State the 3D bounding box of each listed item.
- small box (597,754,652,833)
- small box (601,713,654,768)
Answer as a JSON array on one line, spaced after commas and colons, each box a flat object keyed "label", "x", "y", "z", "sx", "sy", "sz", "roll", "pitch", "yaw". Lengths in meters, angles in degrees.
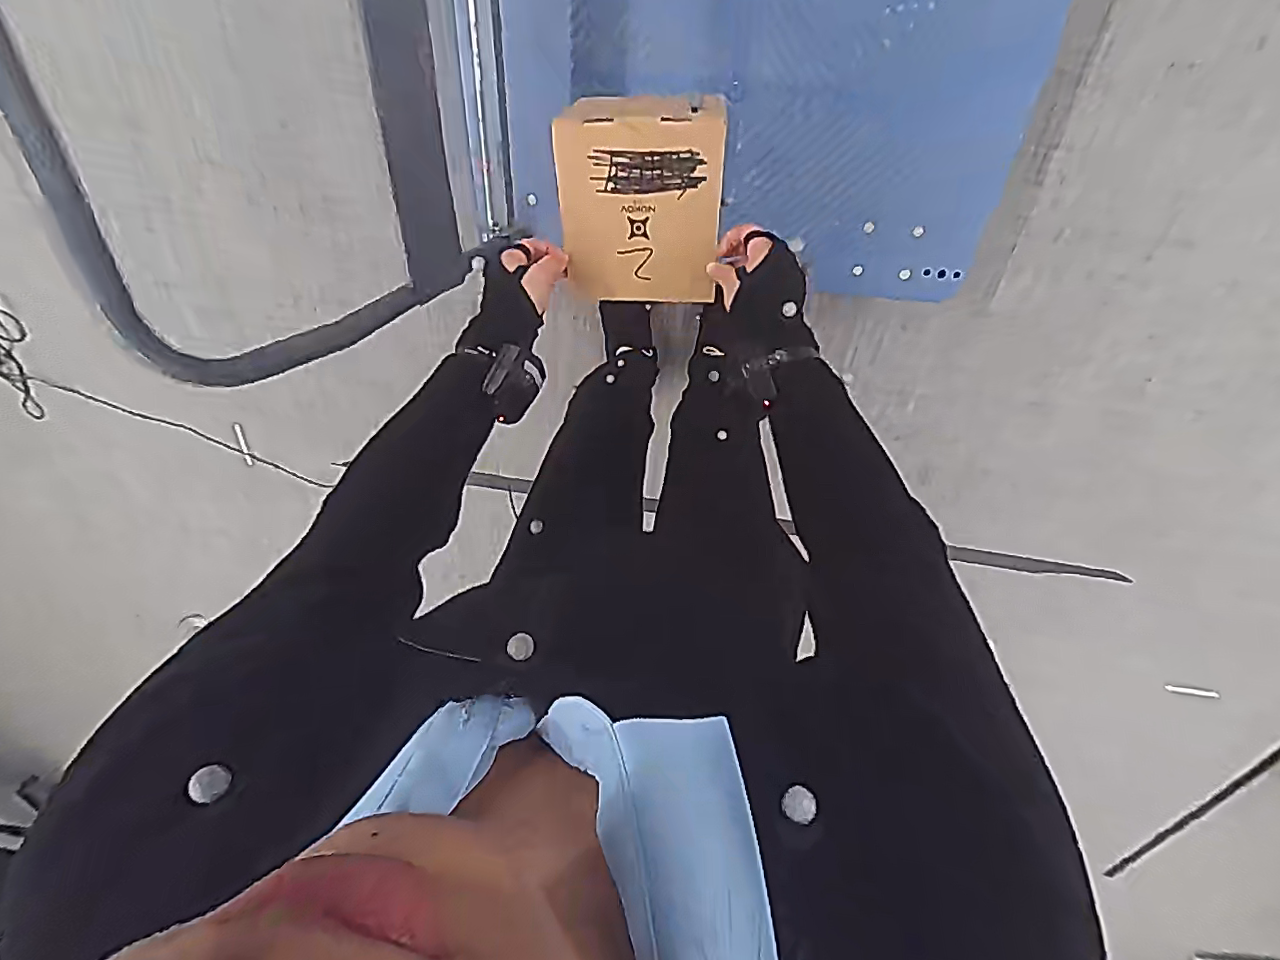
[{"label": "small box", "x": -0.053, "y": 1.101, "z": 1.902, "sx": 0.168, "sy": 0.176, "sz": 0.179, "roll": 8, "pitch": 124, "yaw": 2}, {"label": "small box", "x": -0.041, "y": 1.004, "z": 2.033, "sx": 0.168, "sy": 0.176, "sz": 0.179, "roll": -2, "pitch": 123, "yaw": 8}]
